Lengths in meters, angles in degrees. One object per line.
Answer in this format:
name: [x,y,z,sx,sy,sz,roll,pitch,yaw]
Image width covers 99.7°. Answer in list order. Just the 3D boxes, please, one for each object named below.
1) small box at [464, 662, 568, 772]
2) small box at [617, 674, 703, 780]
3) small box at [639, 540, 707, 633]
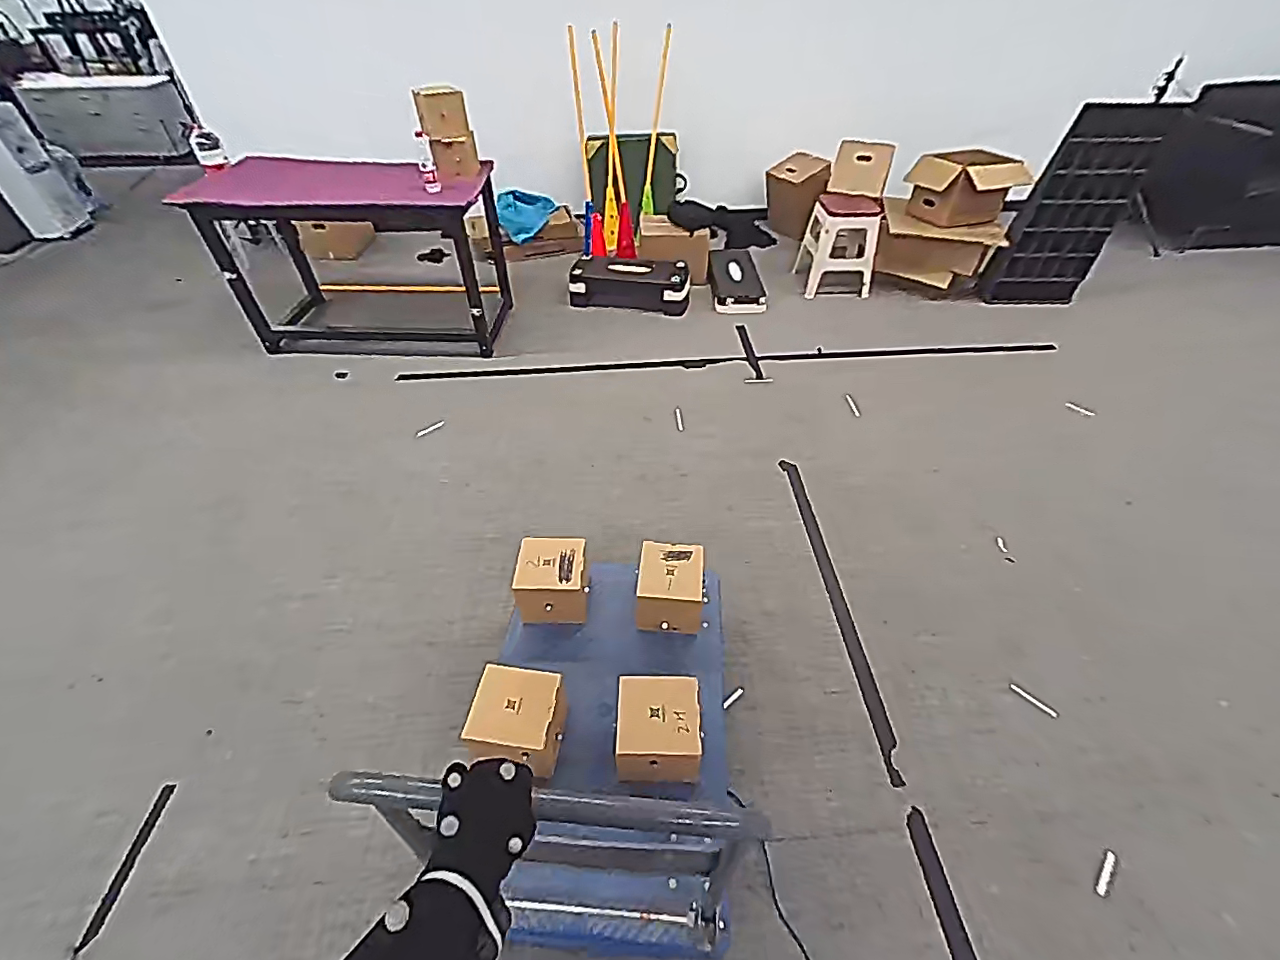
small box: [-0.266,0.531,1.208,0.179,0.176,0.168,7,45,4]
small box: [0.043,0.546,1.193,0.179,0.176,0.168,1,45,1]
small box: [0.087,0.287,1.455,0.168,0.176,0.179,5,46,5]
